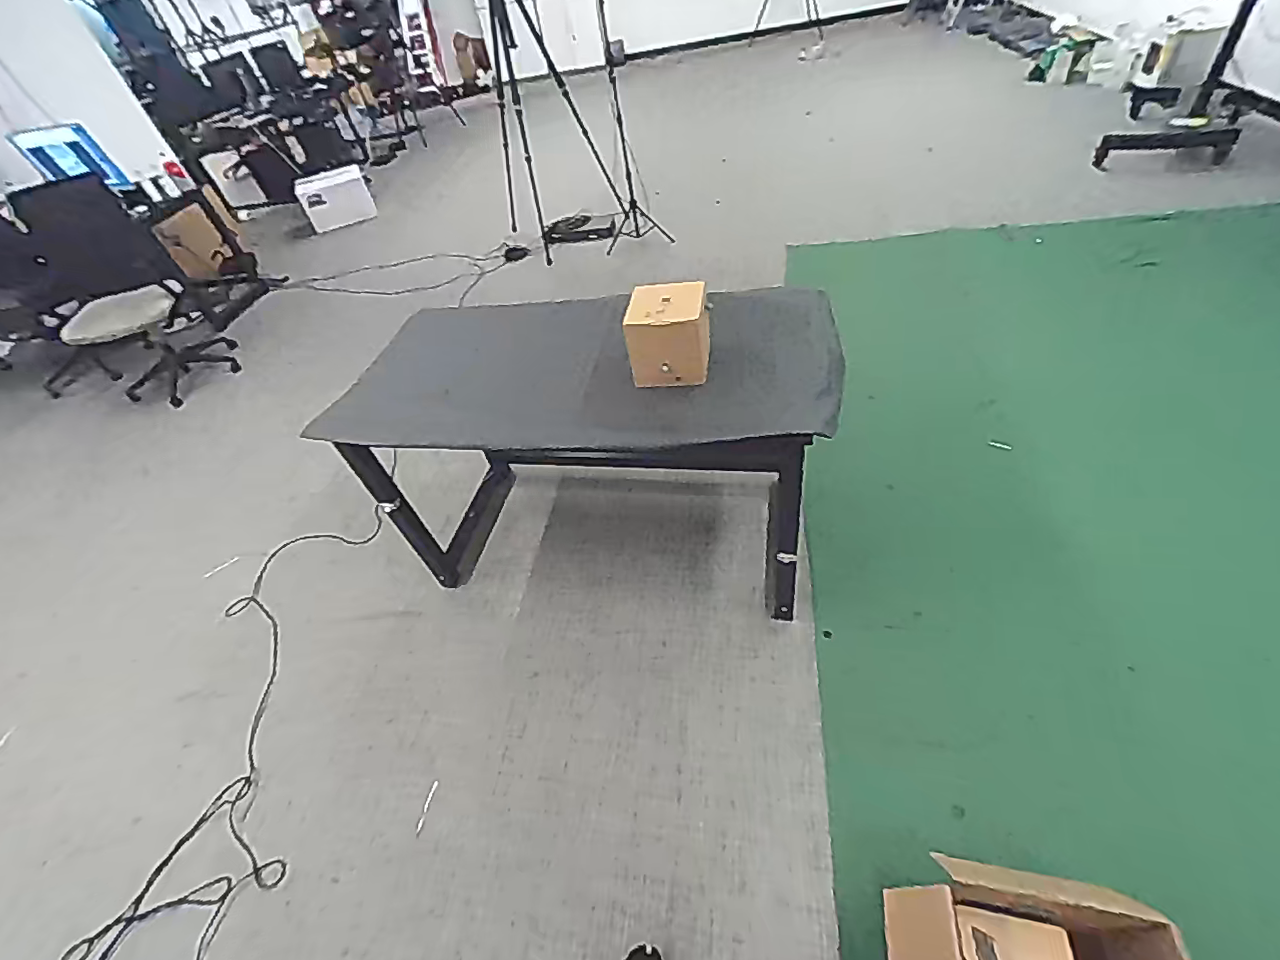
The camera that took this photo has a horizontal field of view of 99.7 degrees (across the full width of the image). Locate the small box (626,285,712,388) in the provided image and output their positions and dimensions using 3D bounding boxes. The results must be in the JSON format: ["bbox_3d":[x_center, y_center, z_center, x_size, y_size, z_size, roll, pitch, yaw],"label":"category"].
[{"bbox_3d":[0.075,-0.332,1.260,0.168,0.176,0.179,0,46,14],"label":"small box"}]
